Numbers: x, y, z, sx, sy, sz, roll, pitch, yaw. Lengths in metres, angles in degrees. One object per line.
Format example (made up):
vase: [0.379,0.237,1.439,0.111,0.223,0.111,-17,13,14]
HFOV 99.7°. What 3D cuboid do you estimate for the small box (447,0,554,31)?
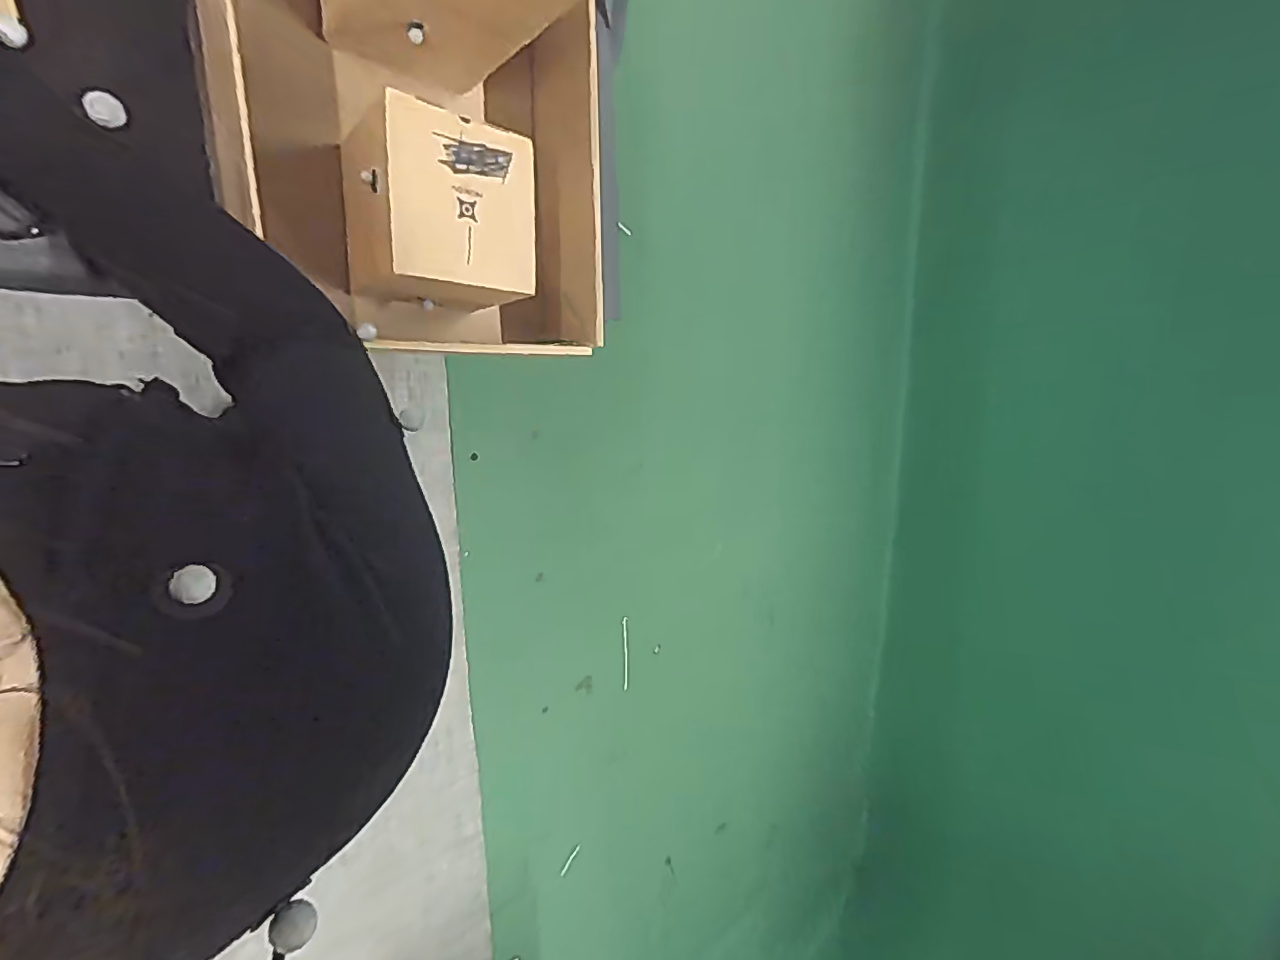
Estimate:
small box: [-0.141,-0.551,0.477,0.179,0.176,0.168,-7,104,-43]
